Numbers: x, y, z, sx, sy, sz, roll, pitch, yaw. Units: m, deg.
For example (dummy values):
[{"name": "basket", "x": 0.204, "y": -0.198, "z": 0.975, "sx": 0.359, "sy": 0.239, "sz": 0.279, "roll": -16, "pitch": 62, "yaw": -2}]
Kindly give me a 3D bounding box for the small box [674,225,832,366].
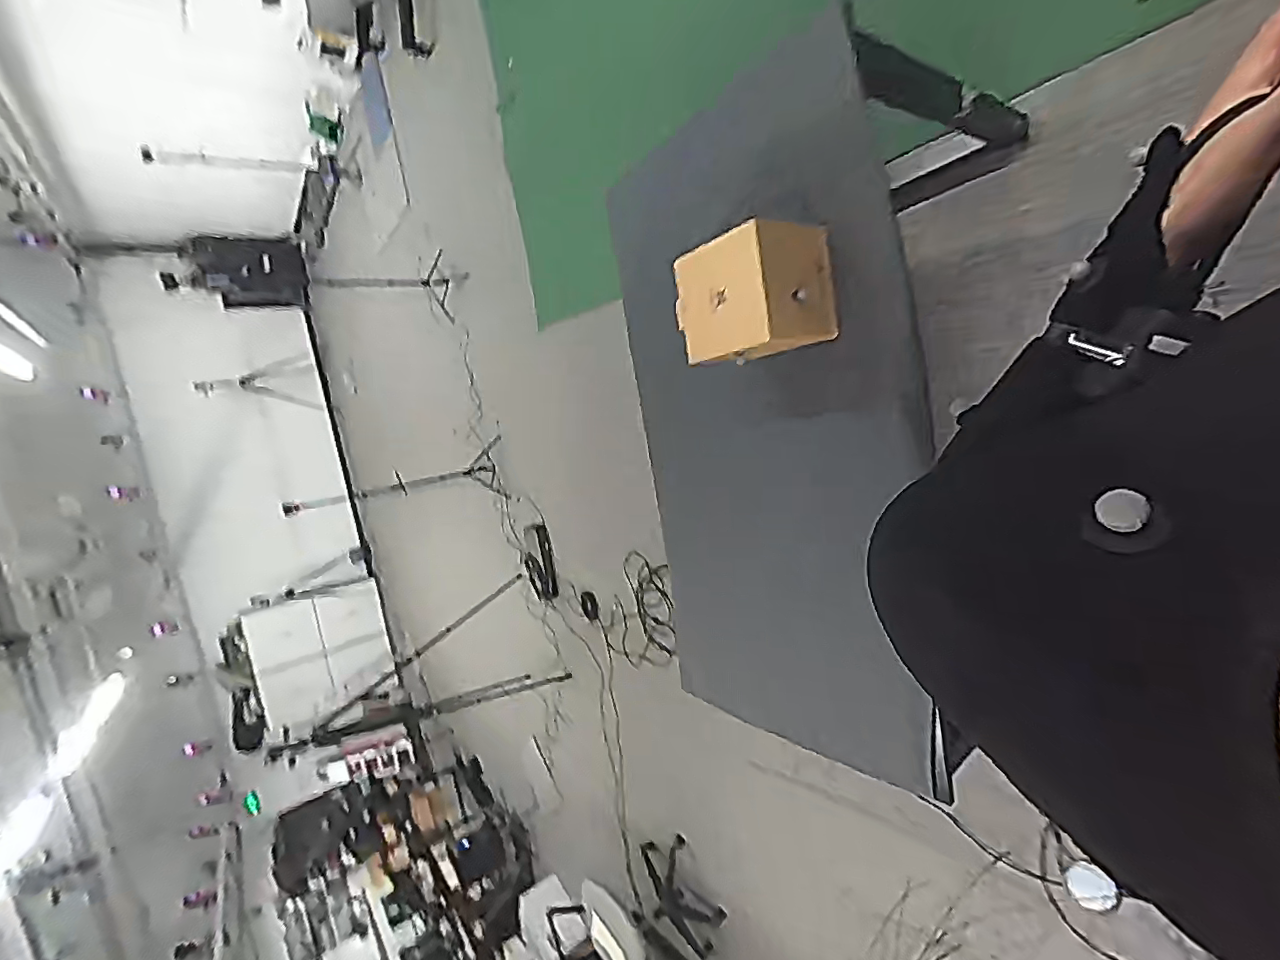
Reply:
[{"name": "small box", "x": 0.182, "y": -0.284, "z": 0.848, "sx": 0.179, "sy": 0.176, "sz": 0.168, "roll": -2, "pitch": 101, "yaw": 55}]
